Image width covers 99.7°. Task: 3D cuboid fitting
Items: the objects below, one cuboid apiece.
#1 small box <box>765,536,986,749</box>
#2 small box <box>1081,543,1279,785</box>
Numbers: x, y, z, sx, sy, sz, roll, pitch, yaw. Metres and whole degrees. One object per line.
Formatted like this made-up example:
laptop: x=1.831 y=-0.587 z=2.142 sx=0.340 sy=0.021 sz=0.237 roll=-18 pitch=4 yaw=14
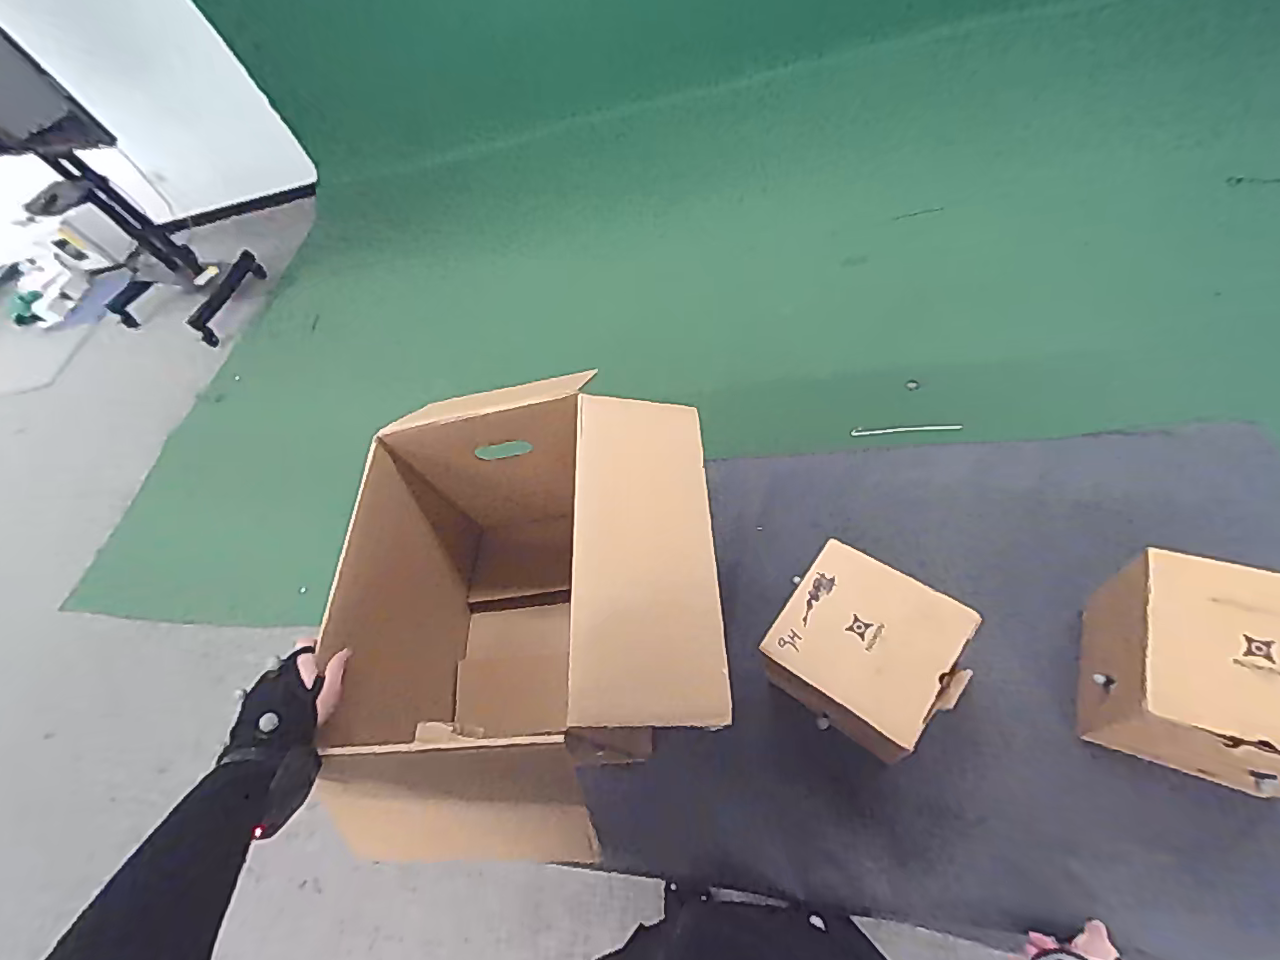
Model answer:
small box: x=0.276 y=0.204 z=0.662 sx=0.179 sy=0.176 sz=0.168 roll=31 pitch=72 yaw=30
small box: x=0.592 y=0.194 z=0.562 sx=0.168 sy=0.176 sz=0.179 roll=13 pitch=63 yaw=24
